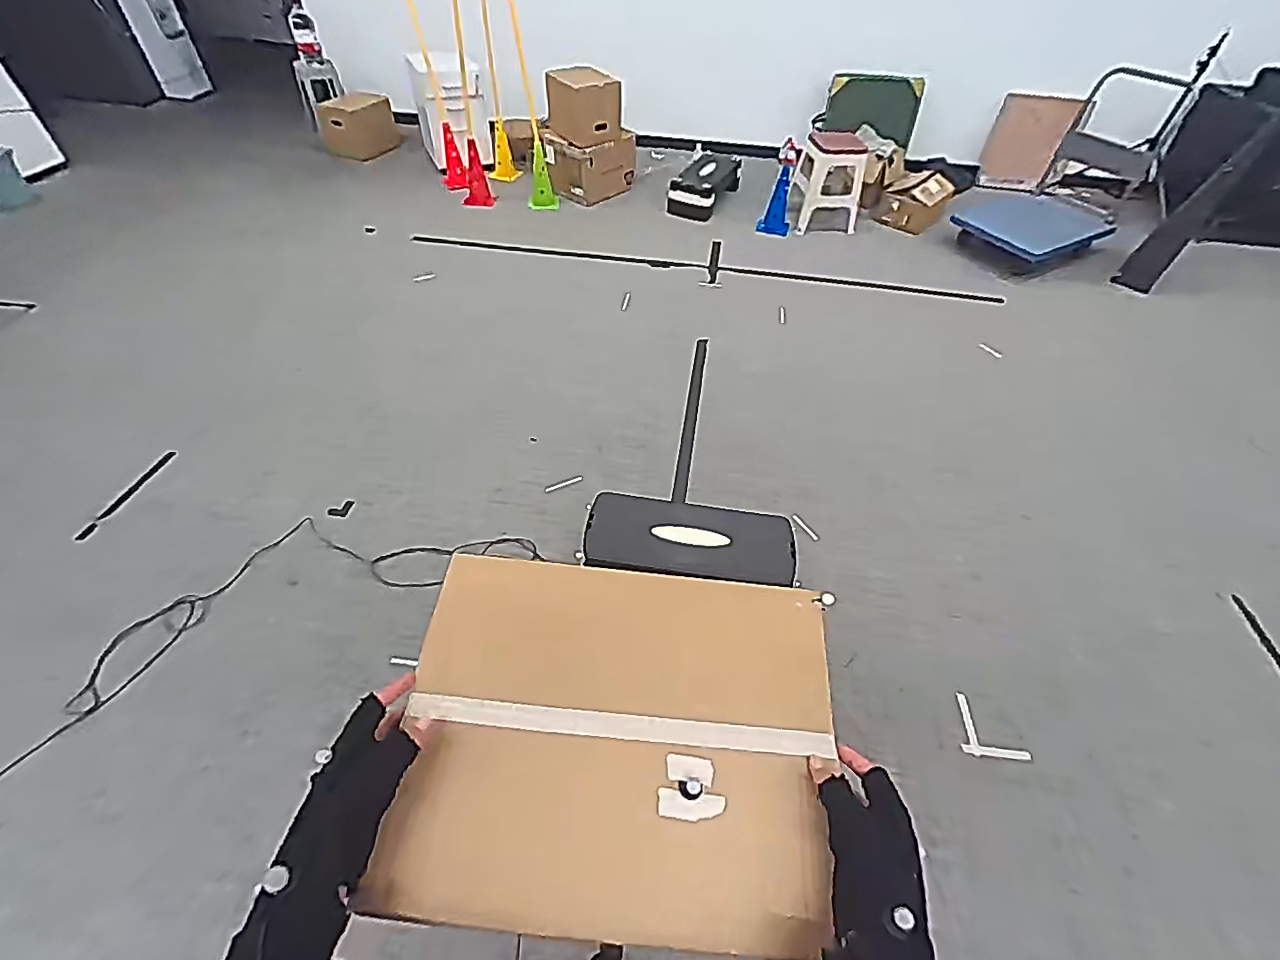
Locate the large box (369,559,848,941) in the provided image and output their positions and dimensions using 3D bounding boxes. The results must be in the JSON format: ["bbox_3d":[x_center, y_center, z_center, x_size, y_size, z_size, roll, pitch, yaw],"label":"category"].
[{"bbox_3d":[-0.025,0.314,0.645,0.408,0.320,0.320,6,57,0],"label":"large box"}]
